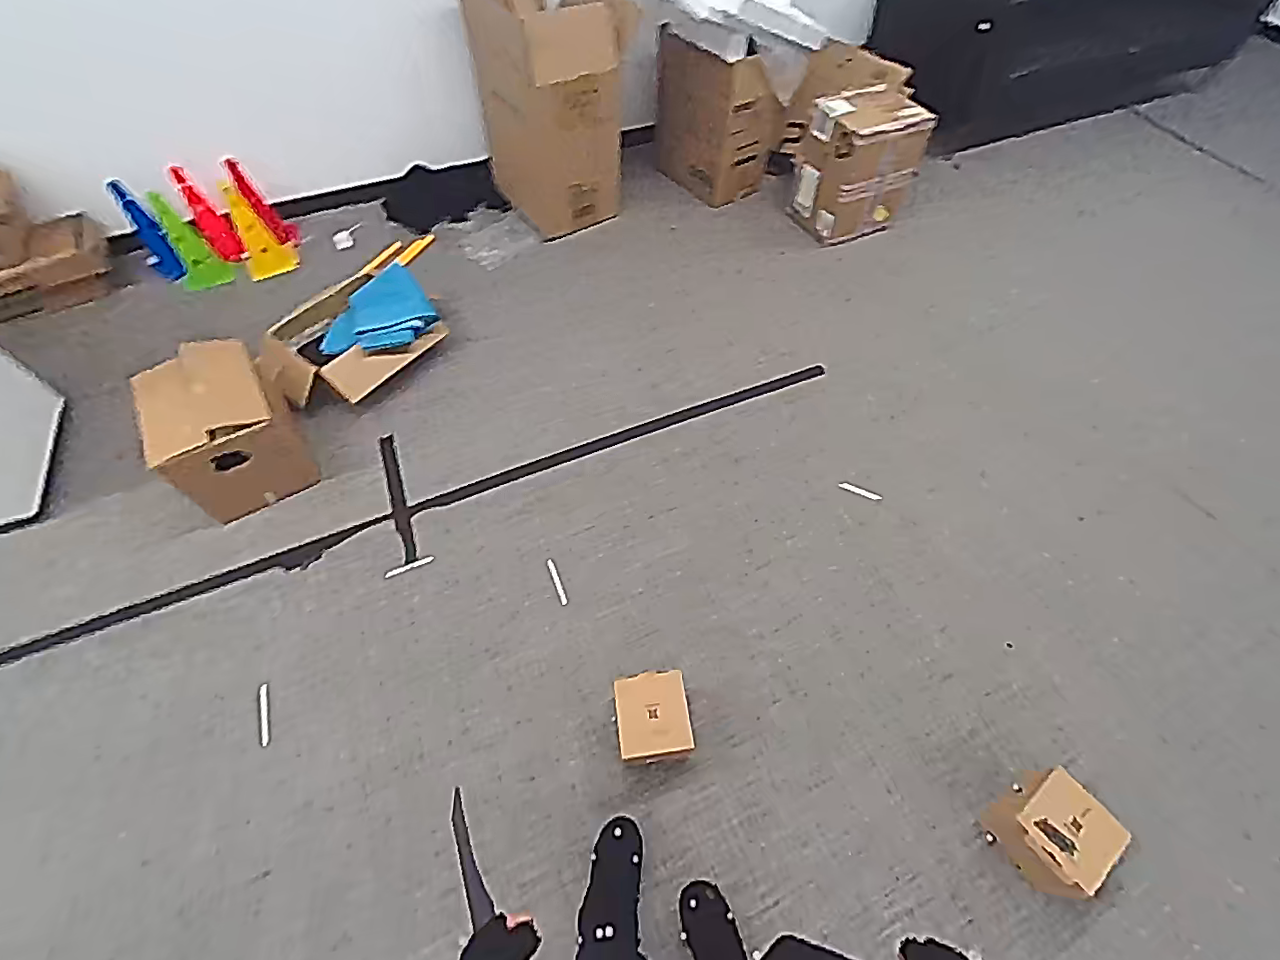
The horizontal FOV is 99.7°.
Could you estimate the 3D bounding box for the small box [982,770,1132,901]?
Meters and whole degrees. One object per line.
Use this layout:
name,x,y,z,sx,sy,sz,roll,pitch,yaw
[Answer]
small box,0.892,0.773,1.179,0.179,0.176,0.168,-30,61,-20

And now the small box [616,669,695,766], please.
small box,0.032,0.576,1.305,0.168,0.176,0.179,-7,57,-4
